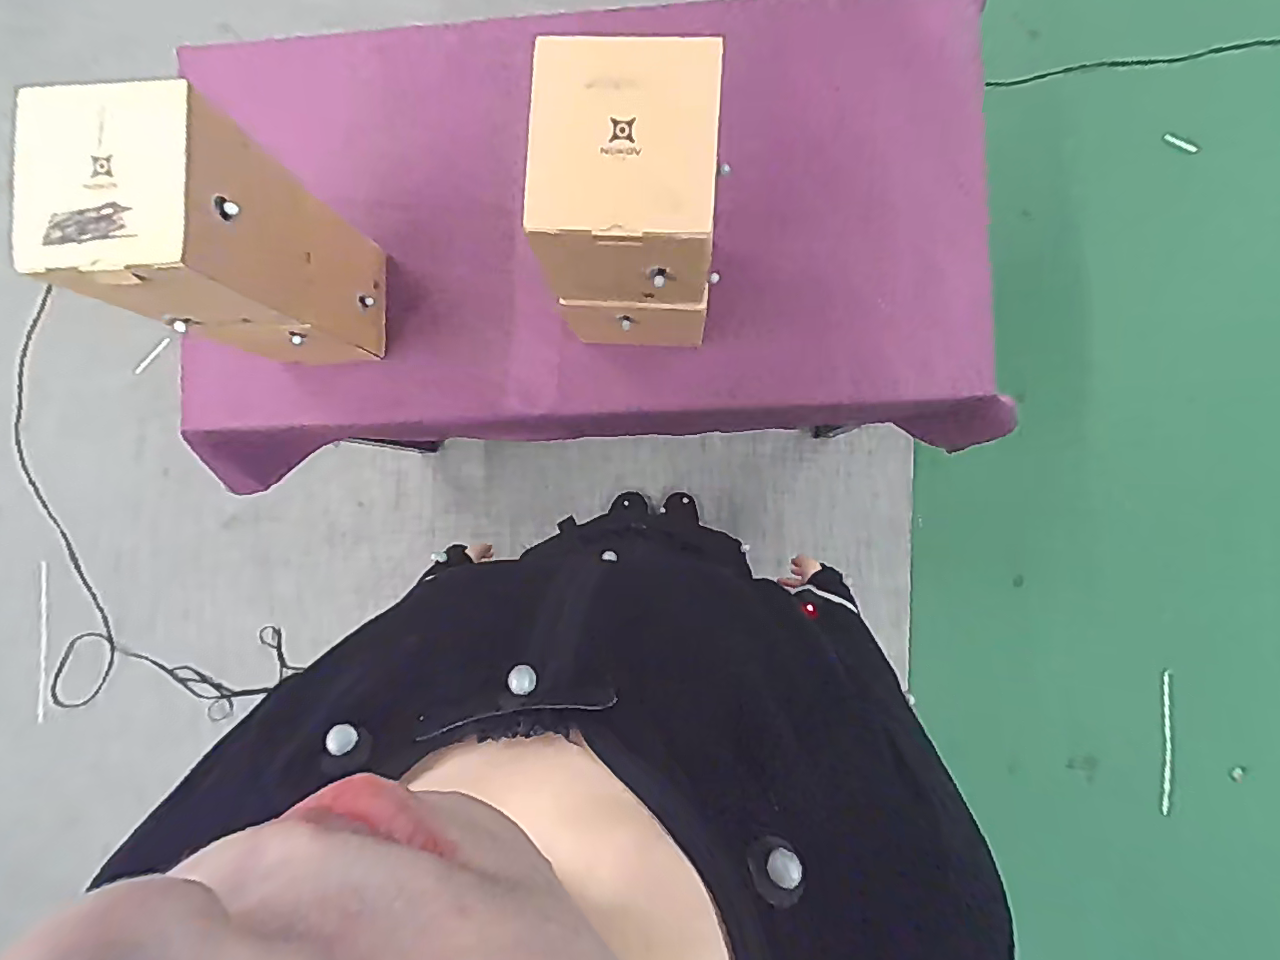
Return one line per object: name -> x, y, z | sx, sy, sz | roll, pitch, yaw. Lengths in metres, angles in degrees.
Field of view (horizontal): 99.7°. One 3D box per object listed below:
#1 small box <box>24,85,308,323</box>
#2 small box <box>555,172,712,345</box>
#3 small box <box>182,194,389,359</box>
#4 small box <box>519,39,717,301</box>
small box -> -0.491, -0.277, 0.585 | 0.168, 0.176, 0.179 | -1, 87, 3
small box -> -0.001, -0.282, 0.712 | 0.179, 0.176, 0.168 | 4, 89, 5
small box -> -0.478, -0.268, 0.749 | 0.179, 0.176, 0.168 | 0, 88, 4
small box -> -0.014, -0.295, 0.549 | 0.168, 0.176, 0.179 | 4, 88, 4
